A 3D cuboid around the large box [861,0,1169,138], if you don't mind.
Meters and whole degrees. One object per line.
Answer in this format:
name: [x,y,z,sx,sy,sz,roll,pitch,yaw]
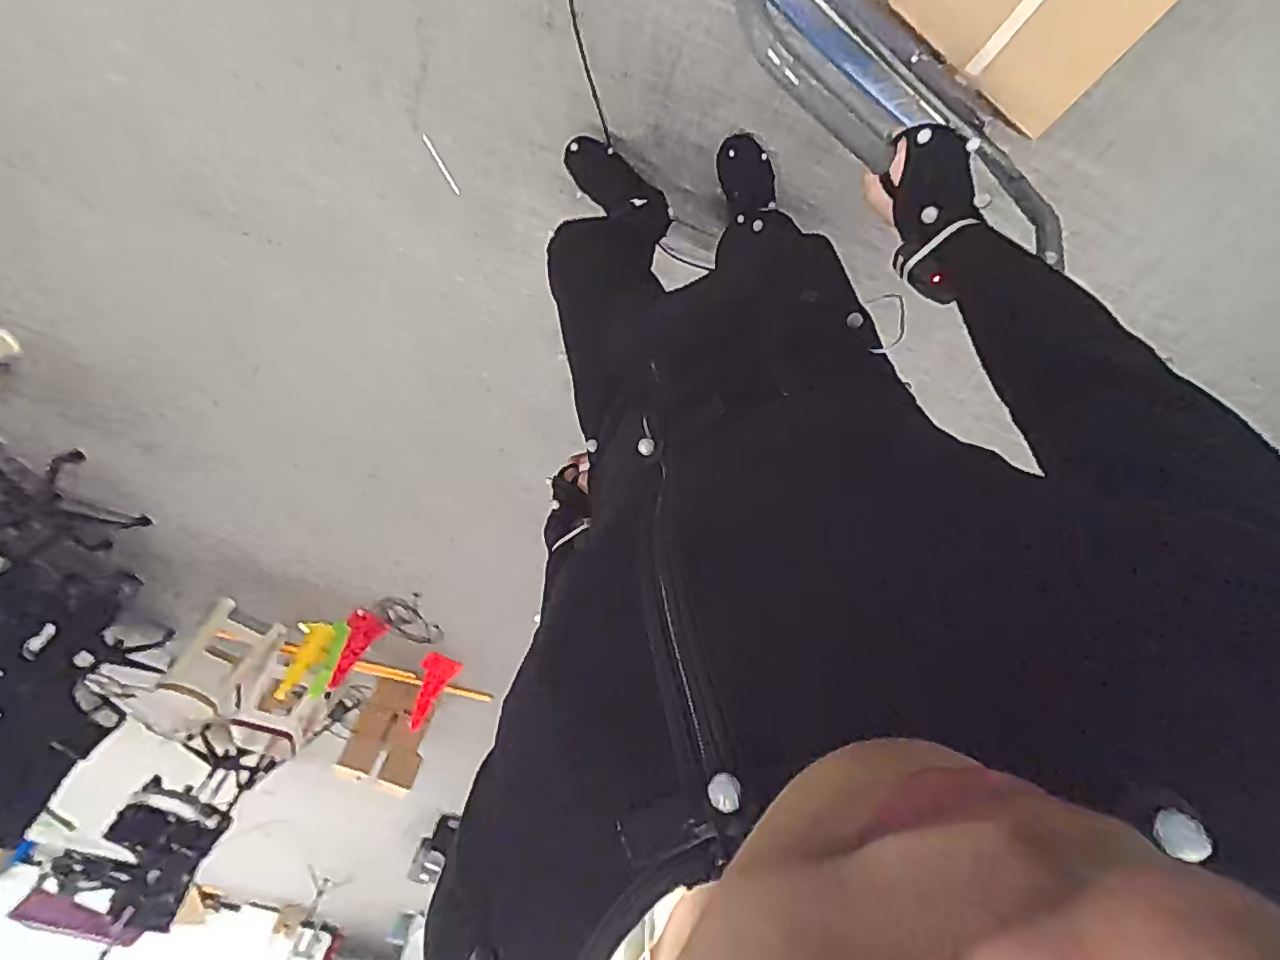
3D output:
large box: [0.597,-0.807,0.779,0.320,0.320,0.408,29,131,-15]
